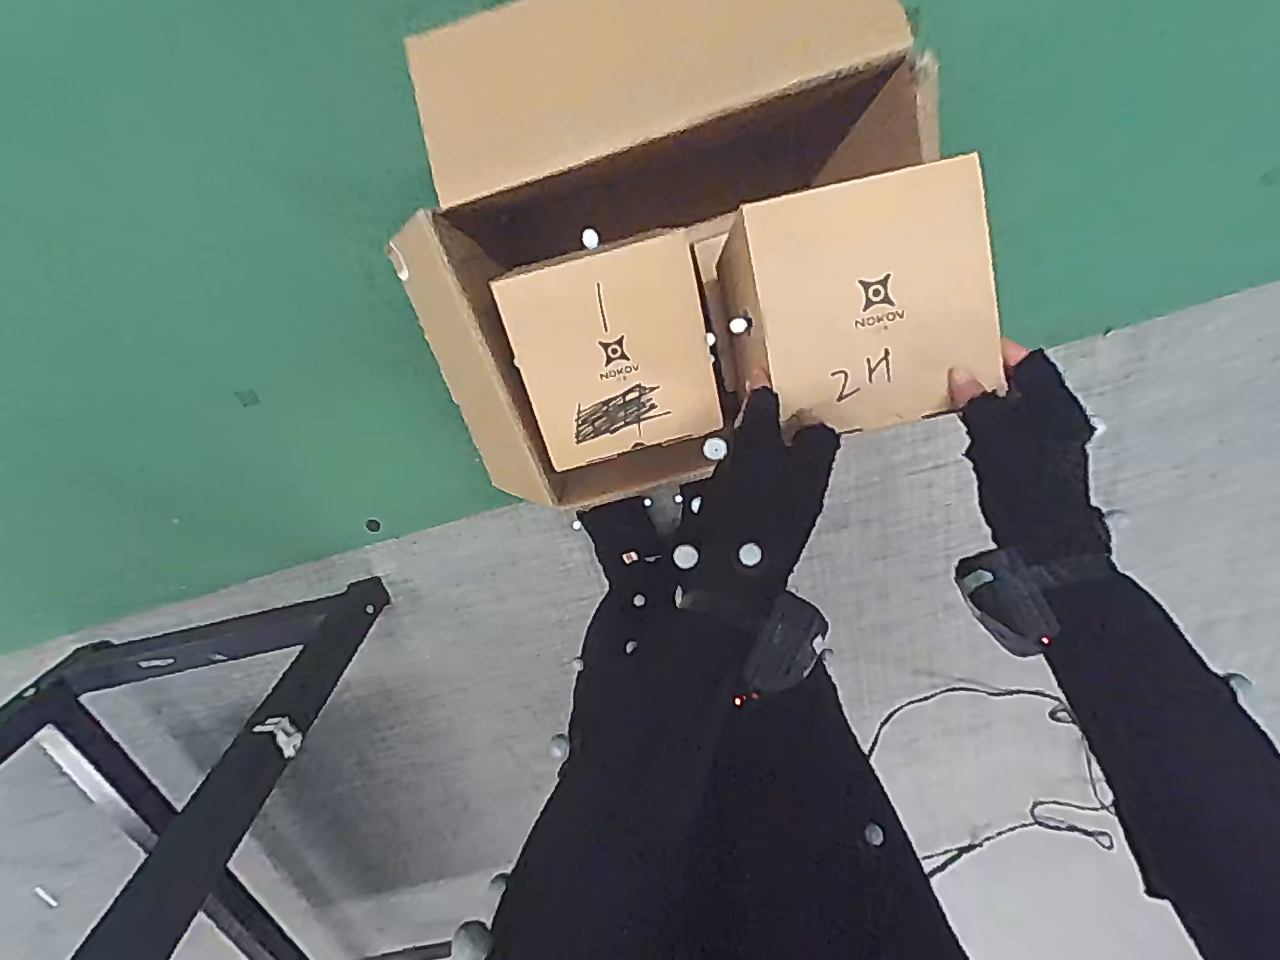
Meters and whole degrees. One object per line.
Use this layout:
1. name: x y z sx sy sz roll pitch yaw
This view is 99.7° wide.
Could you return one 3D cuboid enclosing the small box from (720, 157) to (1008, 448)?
1. small box: 0.169 -0.132 0.458 0.168 0.176 0.179 -11 98 4
